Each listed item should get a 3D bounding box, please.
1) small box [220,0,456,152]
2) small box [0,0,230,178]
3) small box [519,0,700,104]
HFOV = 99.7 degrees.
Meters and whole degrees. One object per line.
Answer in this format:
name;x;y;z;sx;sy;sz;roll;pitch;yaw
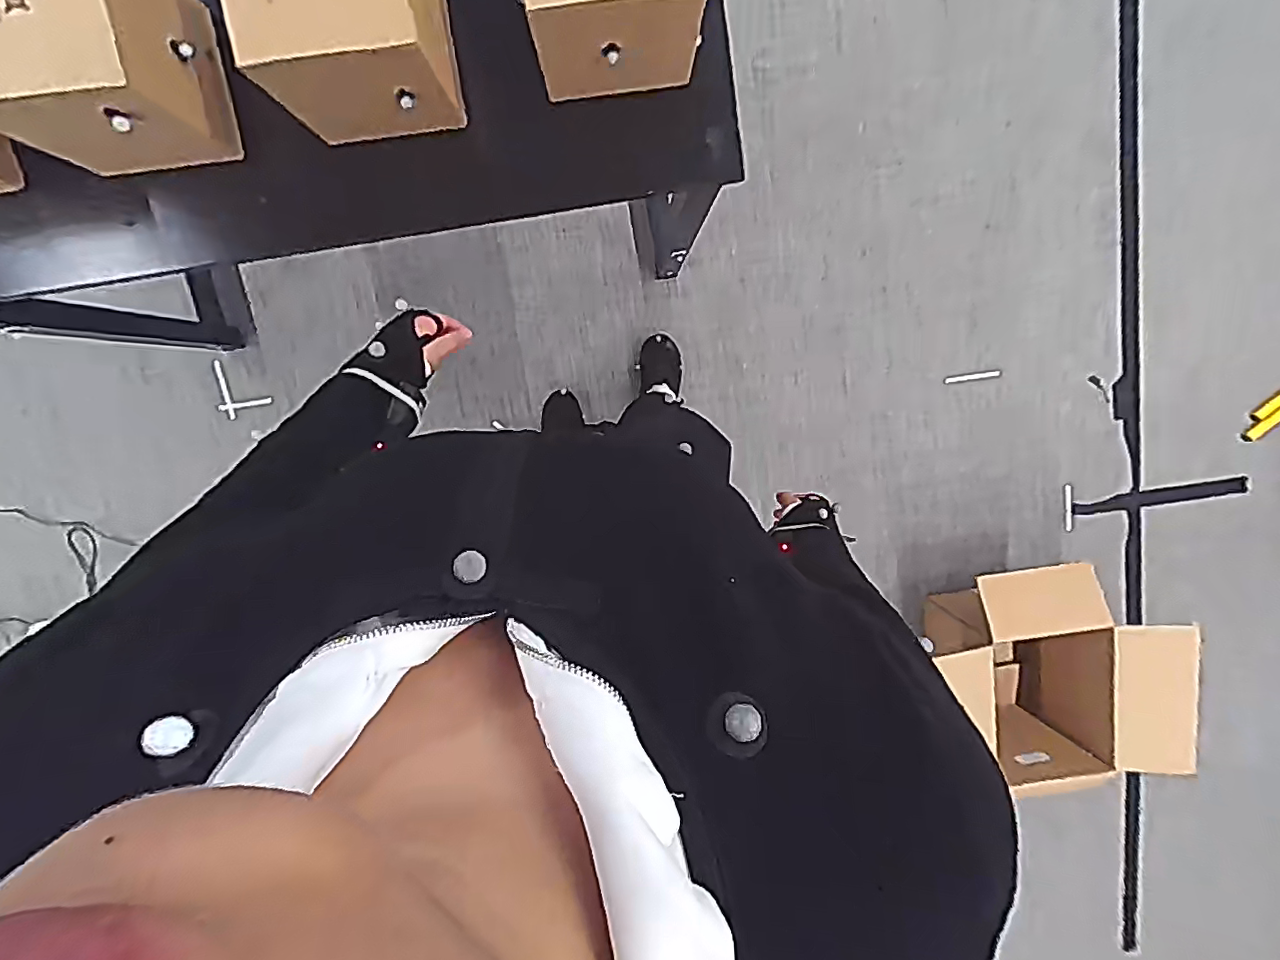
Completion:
small box;-0.313;-0.486;0.582;0.179;0.176;0.168;-10;98;-1
small box;-0.583;-0.448;0.576;0.179;0.176;0.168;-8;99;-1
small box;-0.039;-0.542;0.582;0.179;0.176;0.168;-7;99;0
